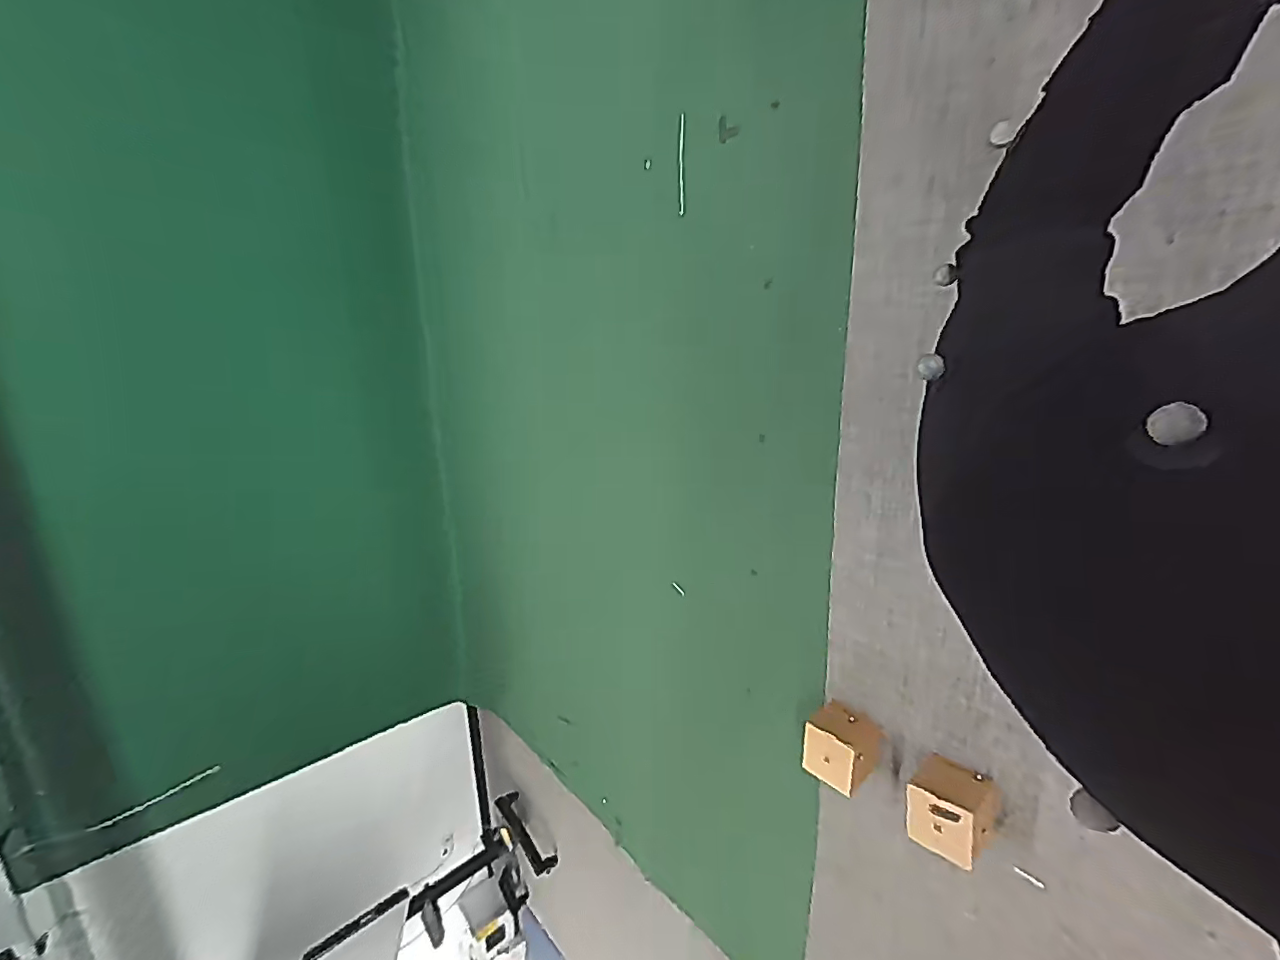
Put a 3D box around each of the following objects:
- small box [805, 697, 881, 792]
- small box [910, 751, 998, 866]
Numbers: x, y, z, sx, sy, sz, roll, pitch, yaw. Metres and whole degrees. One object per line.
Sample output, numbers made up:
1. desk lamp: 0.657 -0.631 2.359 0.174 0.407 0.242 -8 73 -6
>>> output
1. small box: 0.646 0.831 1.716 0.168 0.176 0.179 15 111 46
2. small box: 0.858 0.884 1.477 0.168 0.176 0.179 8 107 49
